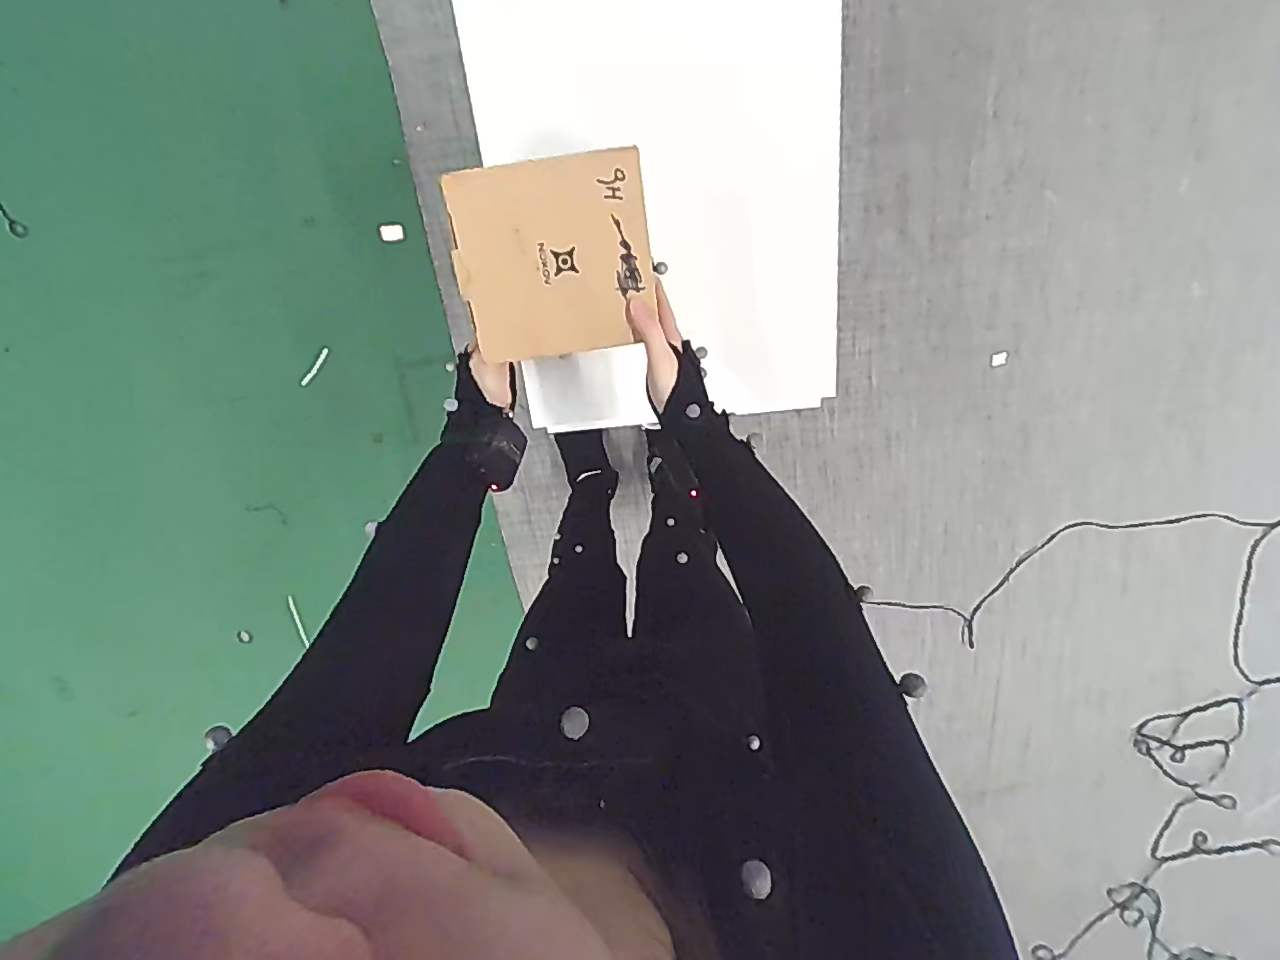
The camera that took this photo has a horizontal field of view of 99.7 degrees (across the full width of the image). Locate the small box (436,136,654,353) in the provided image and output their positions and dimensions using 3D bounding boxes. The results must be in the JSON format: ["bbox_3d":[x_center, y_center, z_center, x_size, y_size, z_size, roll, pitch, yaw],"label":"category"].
[{"bbox_3d":[-0.079,-0.232,0.559,0.179,0.176,0.168,-7,111,3],"label":"small box"}]
